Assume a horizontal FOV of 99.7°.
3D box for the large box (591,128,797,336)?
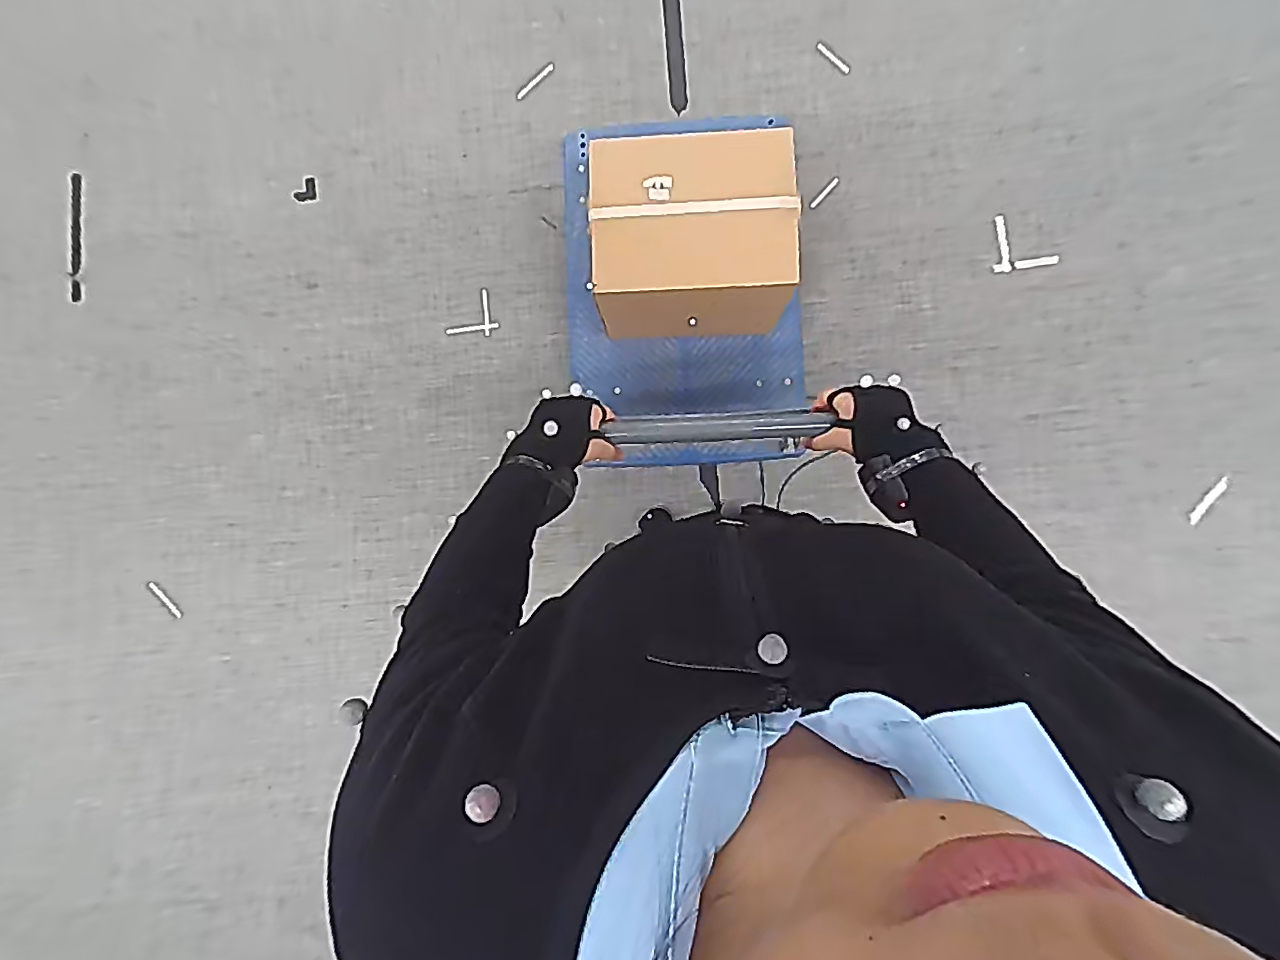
[{"bbox_3d":[0.116,-0.531,1.227,0.408,0.320,0.320,-2,87,4],"label":"large box"}]
